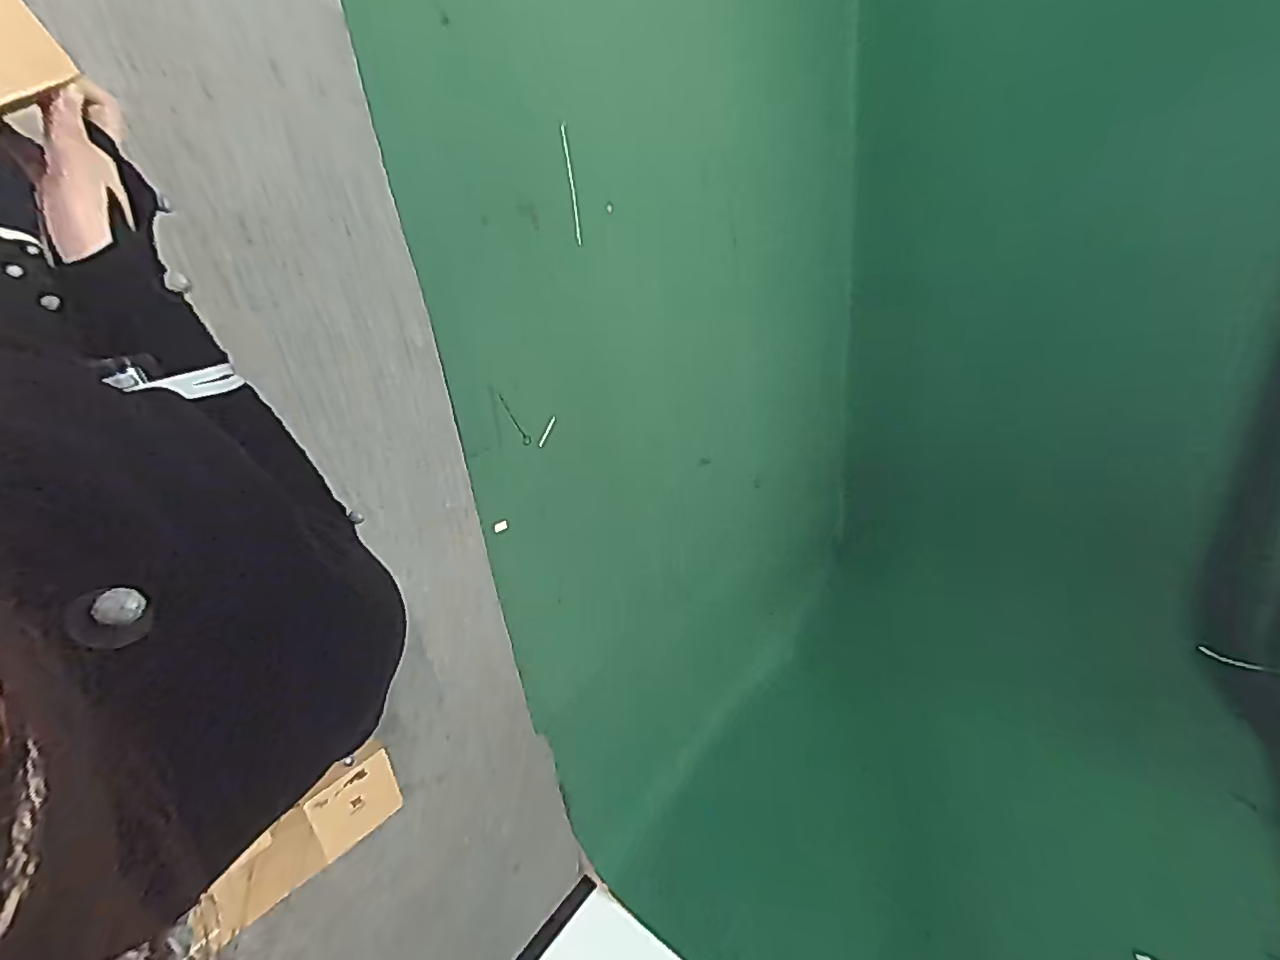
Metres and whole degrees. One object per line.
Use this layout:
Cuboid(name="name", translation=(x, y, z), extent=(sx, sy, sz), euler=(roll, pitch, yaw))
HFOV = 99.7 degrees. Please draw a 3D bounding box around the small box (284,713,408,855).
Cuboid(name="small box", translation=(-0.643, 0.653, 1.185), extent=(0.168, 0.176, 0.179), euler=(-28, 122, -44))
